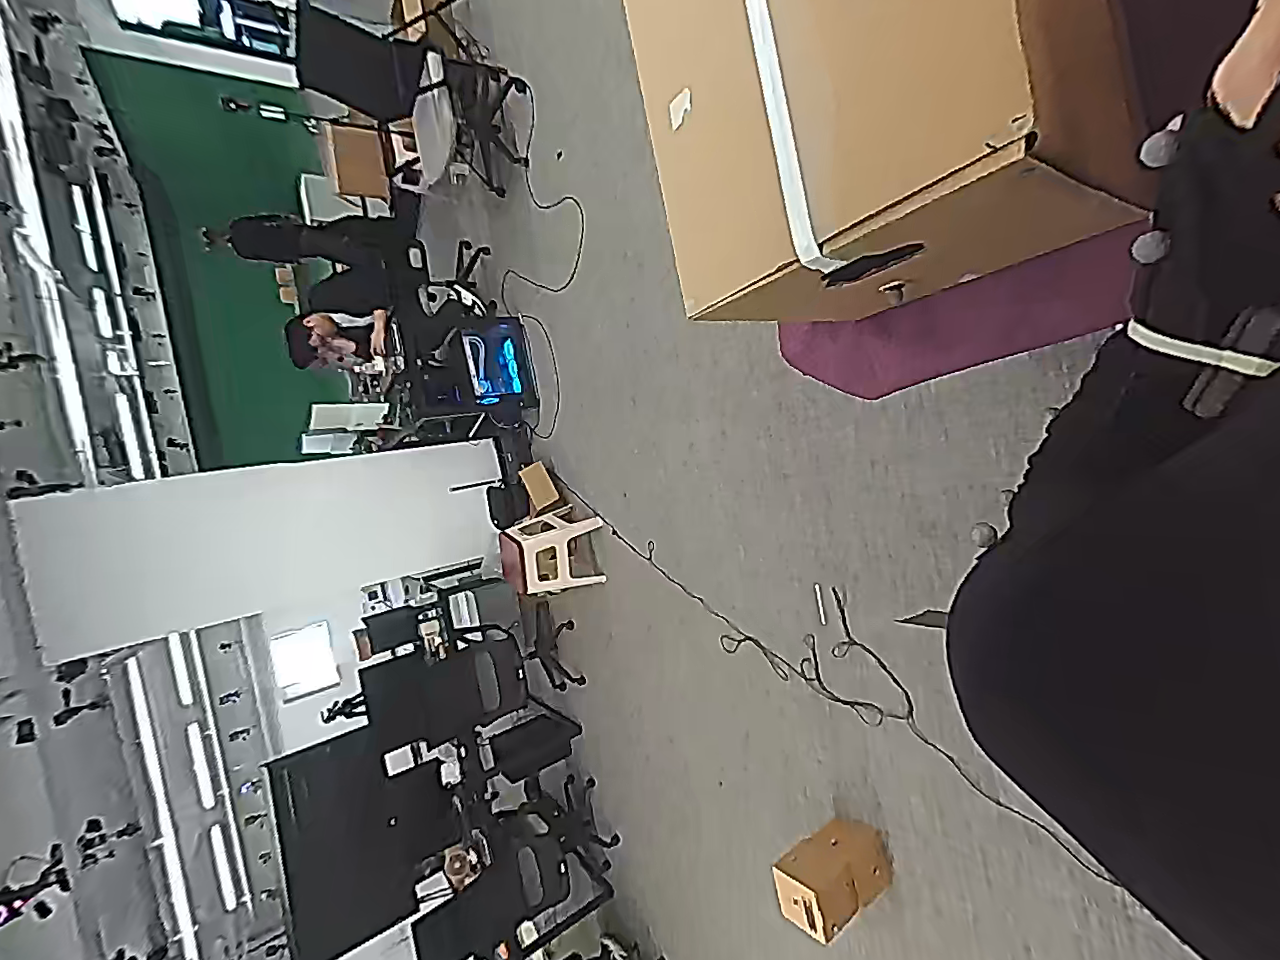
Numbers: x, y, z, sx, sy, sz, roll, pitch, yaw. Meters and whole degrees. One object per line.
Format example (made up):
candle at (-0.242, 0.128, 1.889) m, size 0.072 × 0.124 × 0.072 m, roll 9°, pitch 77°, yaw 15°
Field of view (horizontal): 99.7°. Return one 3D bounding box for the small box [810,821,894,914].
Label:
small box at (0.702, 1.271, 1.791) m, size 0.179 × 0.176 × 0.168 m, roll -22°, pitch 82°, yaw 56°
